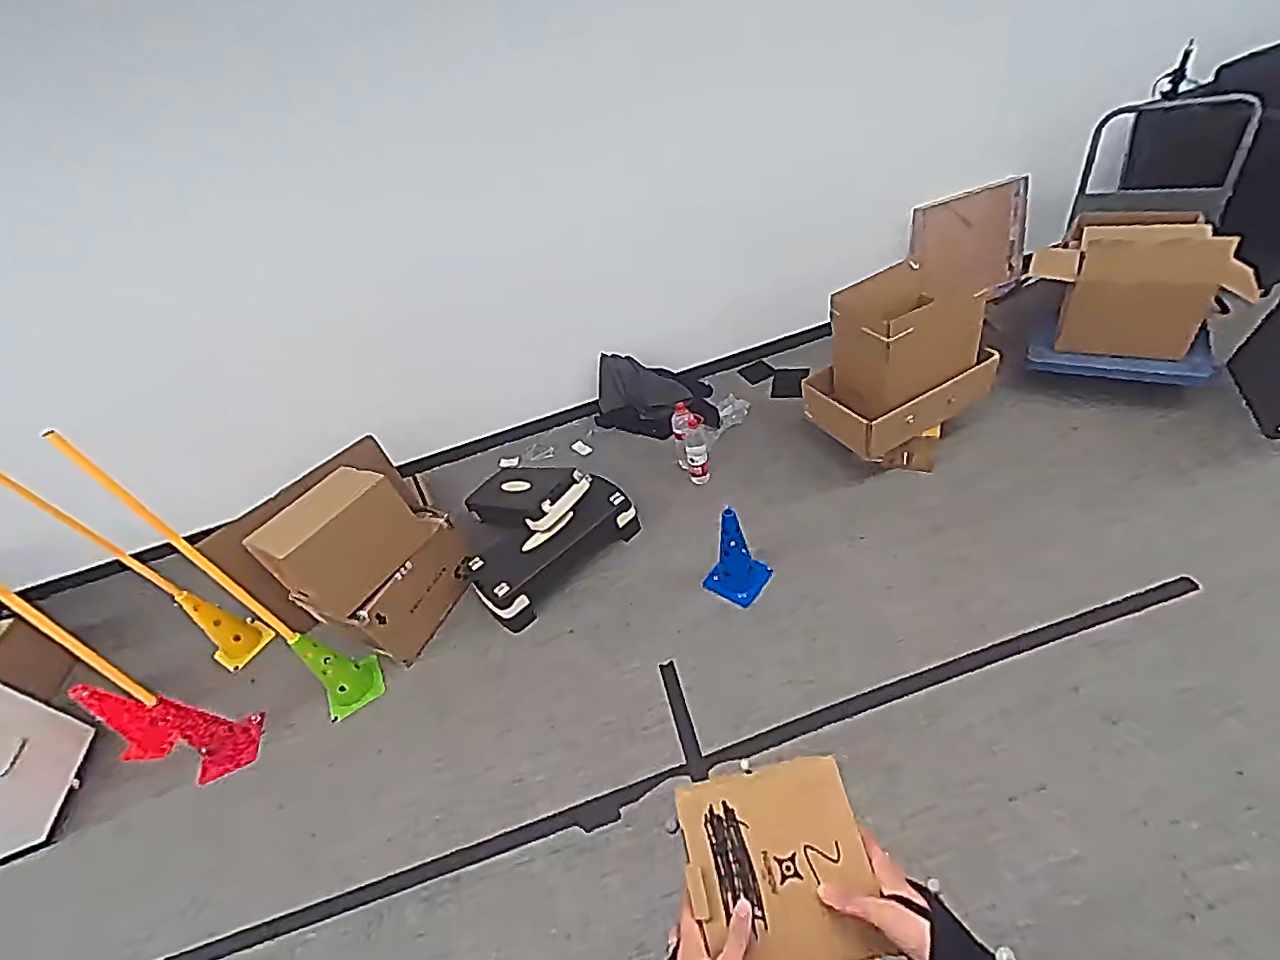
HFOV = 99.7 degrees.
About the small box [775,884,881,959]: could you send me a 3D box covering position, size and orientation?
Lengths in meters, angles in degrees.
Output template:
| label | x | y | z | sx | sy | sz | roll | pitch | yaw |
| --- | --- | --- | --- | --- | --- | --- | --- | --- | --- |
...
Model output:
| label | x | y | z | sx | sy | sz | roll | pitch | yaw |
| --- | --- | --- | --- | --- | --- | --- | --- | --- | --- |
| small box | 0.406 | 1.005 | 1.148 | 0.168 | 0.176 | 0.179 | -21 | 41 | -5 |
